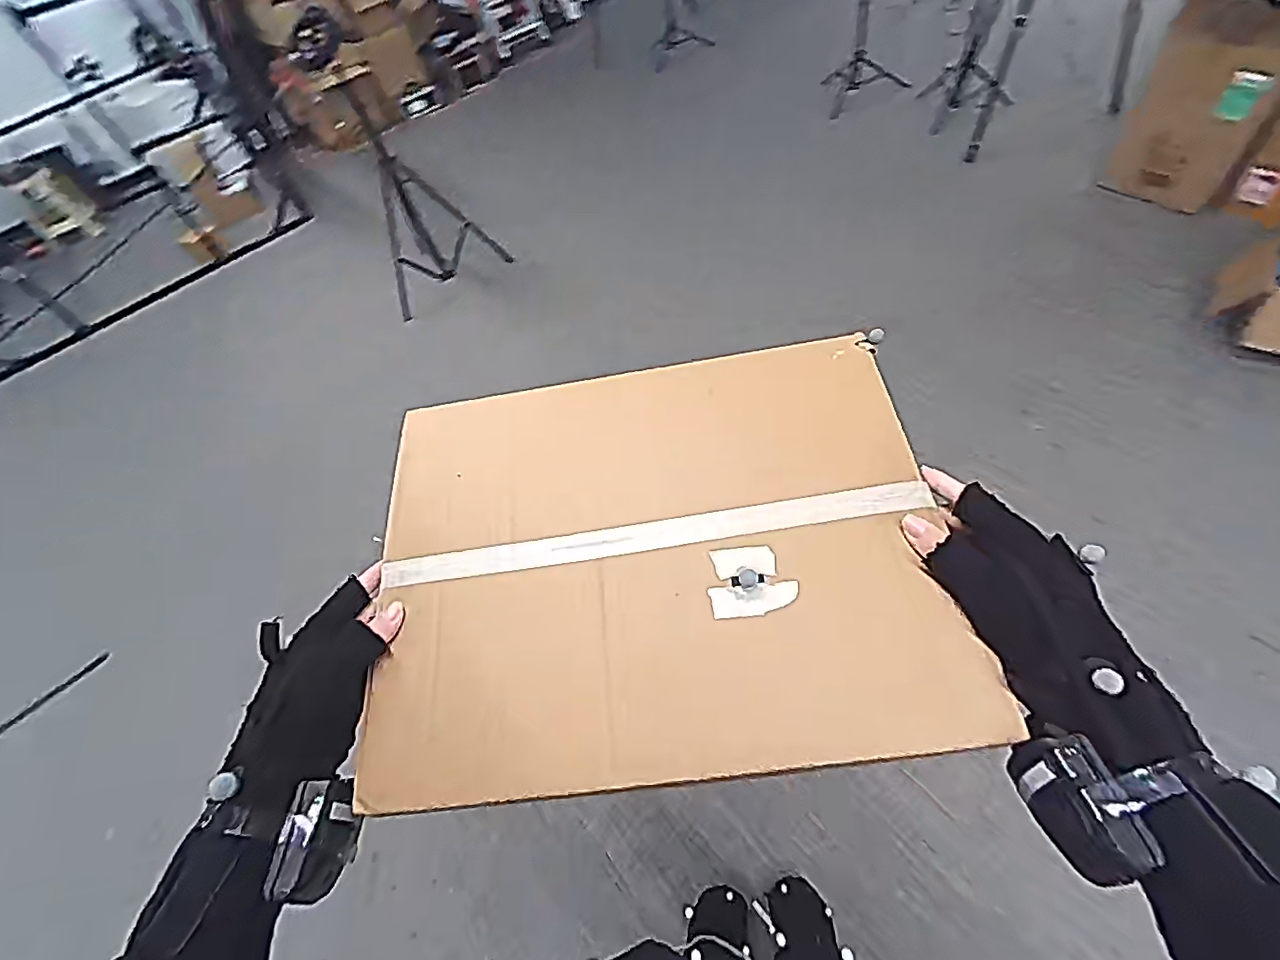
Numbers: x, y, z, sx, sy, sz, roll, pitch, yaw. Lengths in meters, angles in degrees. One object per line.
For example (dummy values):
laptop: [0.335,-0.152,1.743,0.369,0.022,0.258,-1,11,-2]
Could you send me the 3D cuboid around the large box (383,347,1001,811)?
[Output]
large box: [0.027,0.119,0.540,0.408,0.320,0.320,-9,61,3]
